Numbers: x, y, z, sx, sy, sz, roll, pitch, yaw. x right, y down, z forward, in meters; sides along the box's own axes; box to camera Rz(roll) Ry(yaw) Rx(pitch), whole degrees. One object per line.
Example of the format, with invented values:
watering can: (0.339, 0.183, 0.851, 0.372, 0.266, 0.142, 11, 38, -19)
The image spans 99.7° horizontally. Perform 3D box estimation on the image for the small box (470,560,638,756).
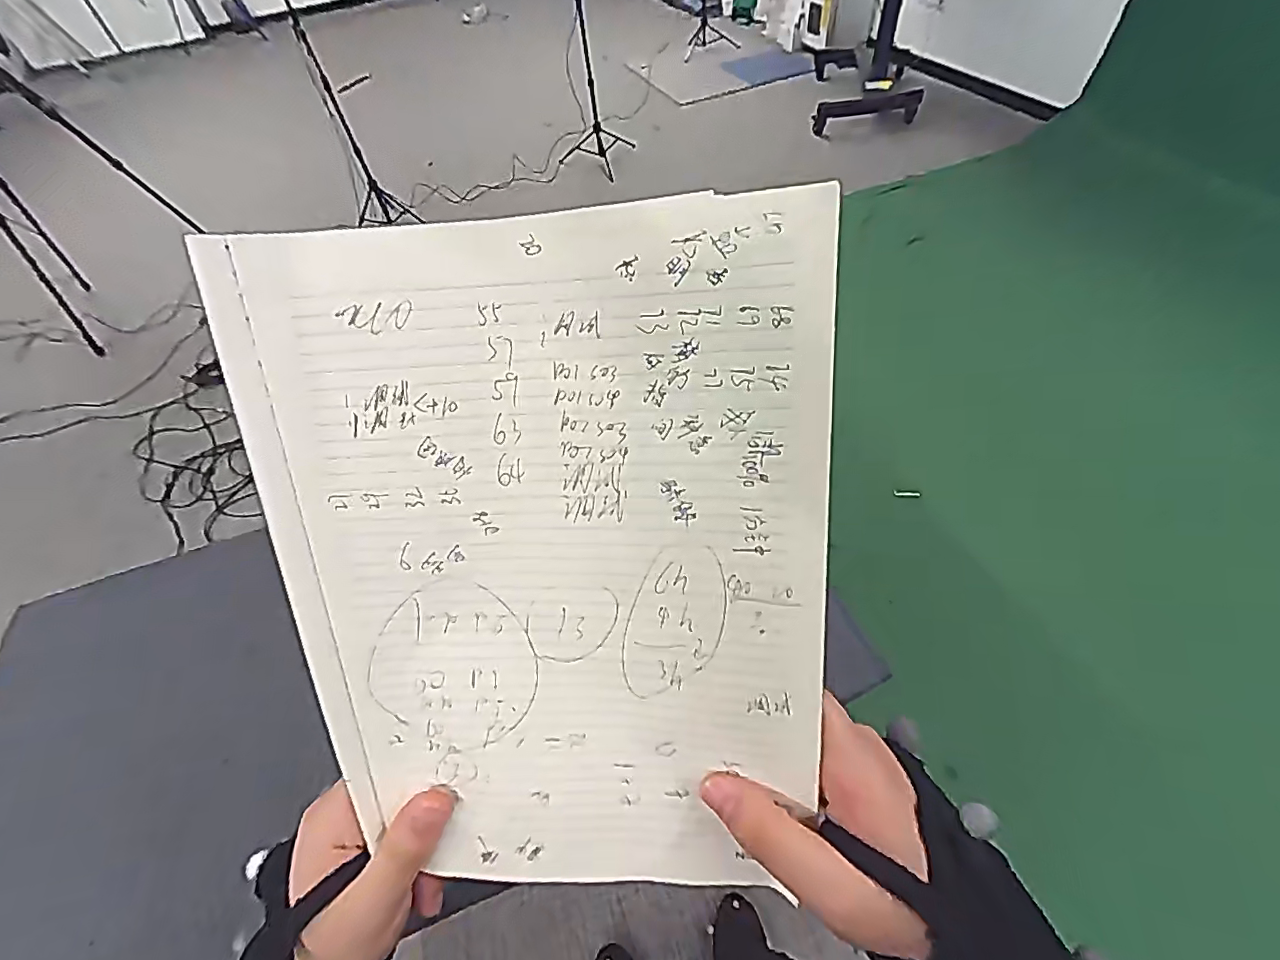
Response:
small box: (-0.098, 0.225, 0.678, 0.168, 0.176, 0.179, -9, 52, 1)
